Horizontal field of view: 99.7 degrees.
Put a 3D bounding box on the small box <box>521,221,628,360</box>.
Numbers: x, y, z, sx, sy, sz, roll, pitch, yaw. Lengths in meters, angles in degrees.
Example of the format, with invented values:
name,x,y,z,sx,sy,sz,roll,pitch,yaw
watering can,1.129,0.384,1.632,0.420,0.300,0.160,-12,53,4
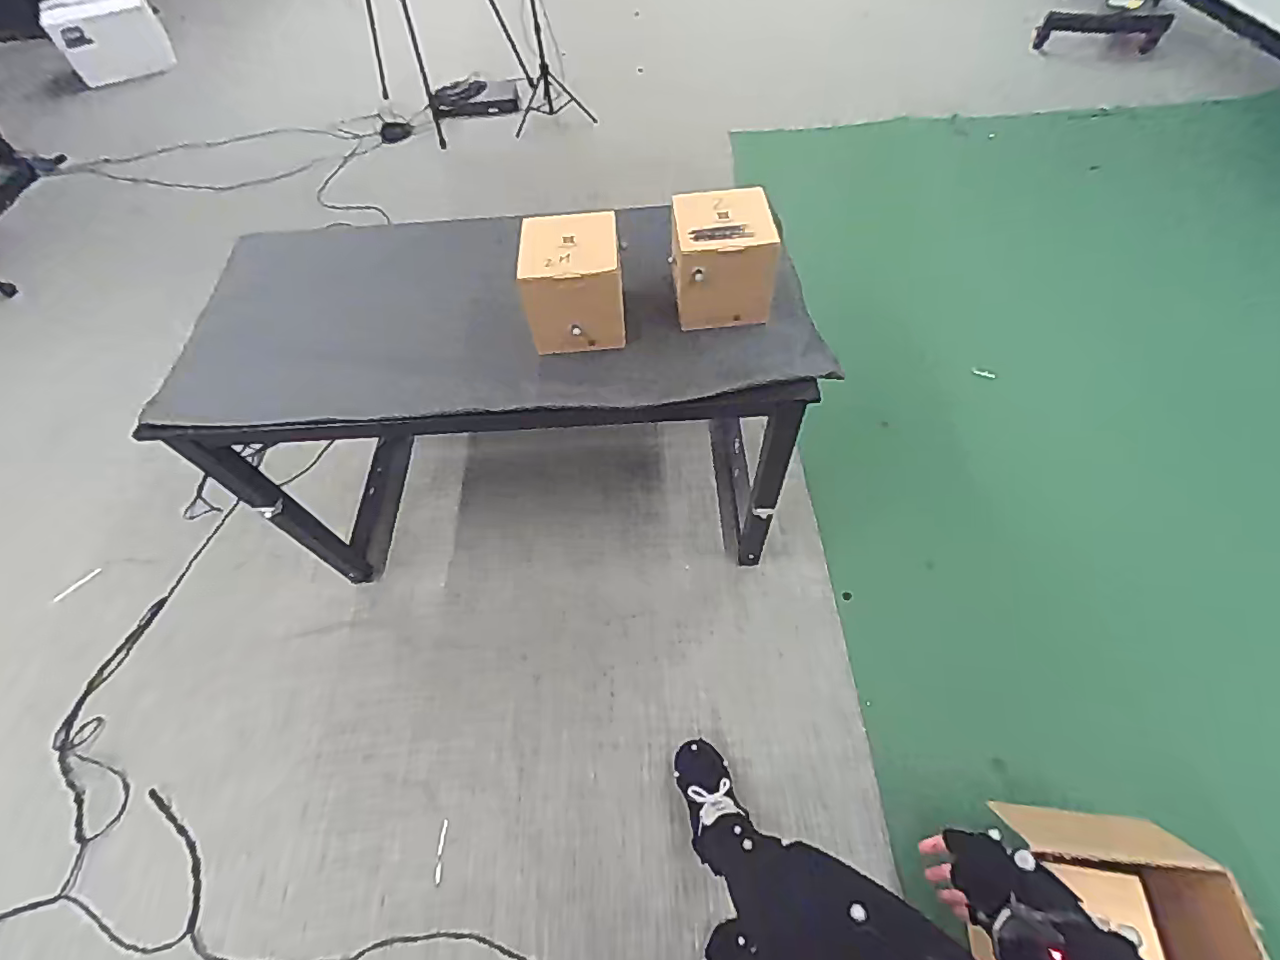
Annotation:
name,x,y,z,sx,sy,sz,roll,pitch,yaw
small box,-0.111,-0.343,0.986,0.168,0.176,0.179,-4,56,1
